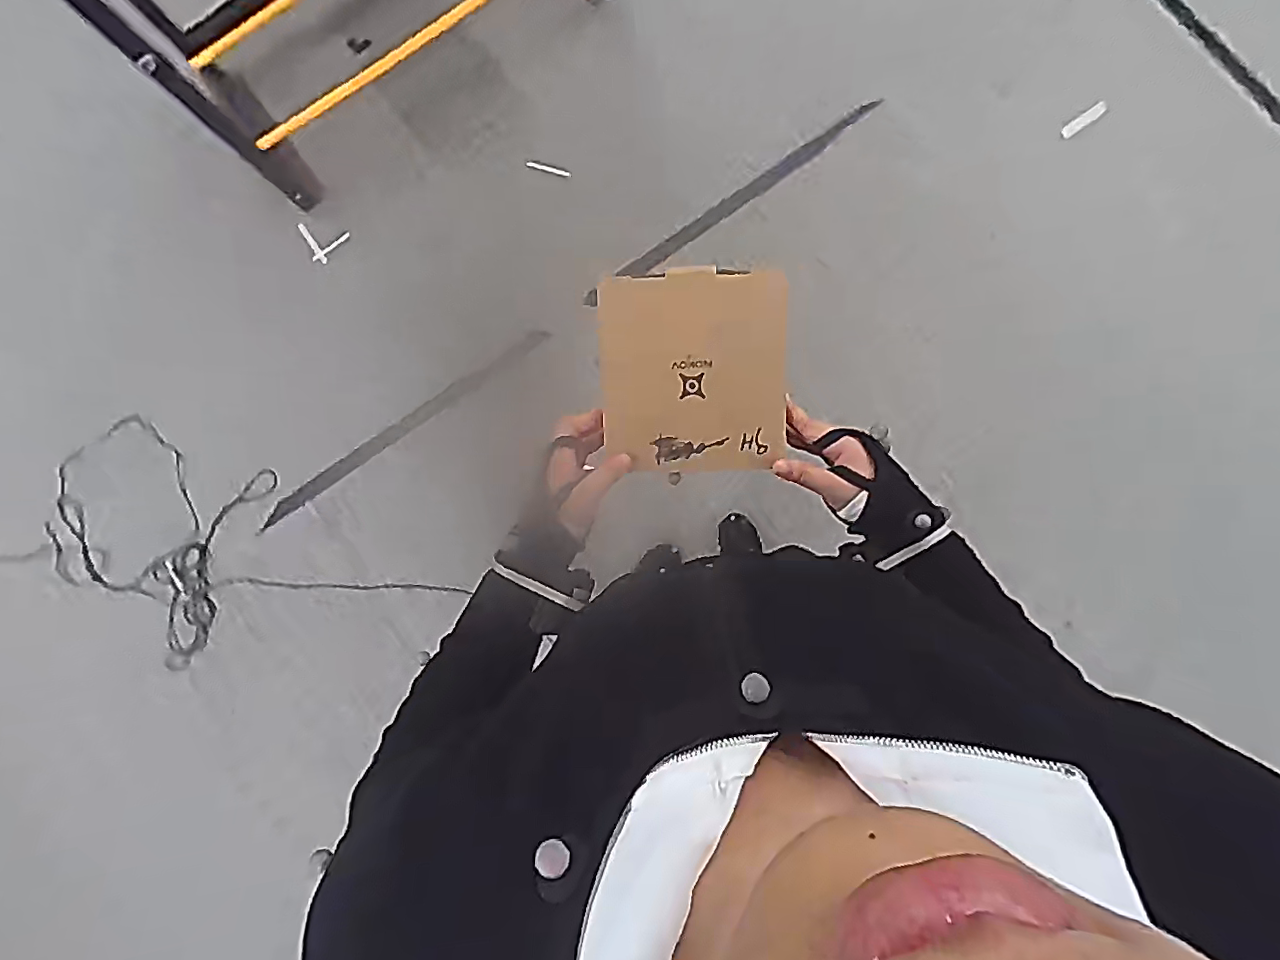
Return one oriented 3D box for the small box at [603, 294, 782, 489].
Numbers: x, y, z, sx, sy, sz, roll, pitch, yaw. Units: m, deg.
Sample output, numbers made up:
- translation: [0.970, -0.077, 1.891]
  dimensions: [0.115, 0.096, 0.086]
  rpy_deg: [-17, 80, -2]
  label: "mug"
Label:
- translation: [0.051, -0.091, 0.579]
  dimensions: [0.168, 0.176, 0.179]
  rpy_deg: [-3, 99, 2]
  label: "small box"
